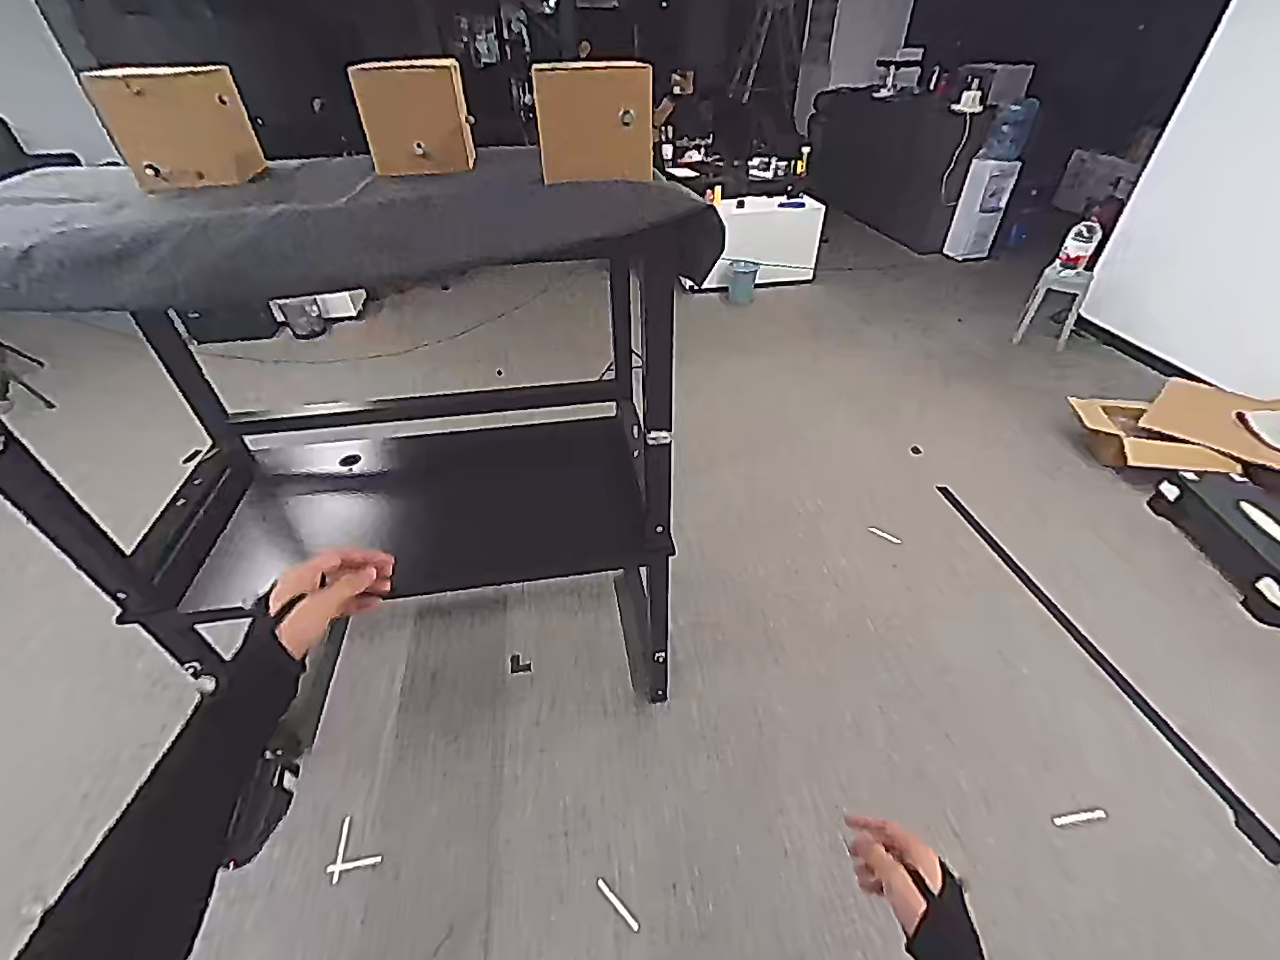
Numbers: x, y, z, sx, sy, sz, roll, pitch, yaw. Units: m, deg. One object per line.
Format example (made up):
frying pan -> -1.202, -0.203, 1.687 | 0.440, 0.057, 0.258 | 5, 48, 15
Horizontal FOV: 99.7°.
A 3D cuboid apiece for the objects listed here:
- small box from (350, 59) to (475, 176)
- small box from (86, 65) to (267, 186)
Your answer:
small box -> -0.423, -0.699, 1.043 | 0.179, 0.176, 0.168 | -7, 40, -7
small box -> -0.823, -0.645, 0.987 | 0.168, 0.176, 0.179 | -9, 40, -10
